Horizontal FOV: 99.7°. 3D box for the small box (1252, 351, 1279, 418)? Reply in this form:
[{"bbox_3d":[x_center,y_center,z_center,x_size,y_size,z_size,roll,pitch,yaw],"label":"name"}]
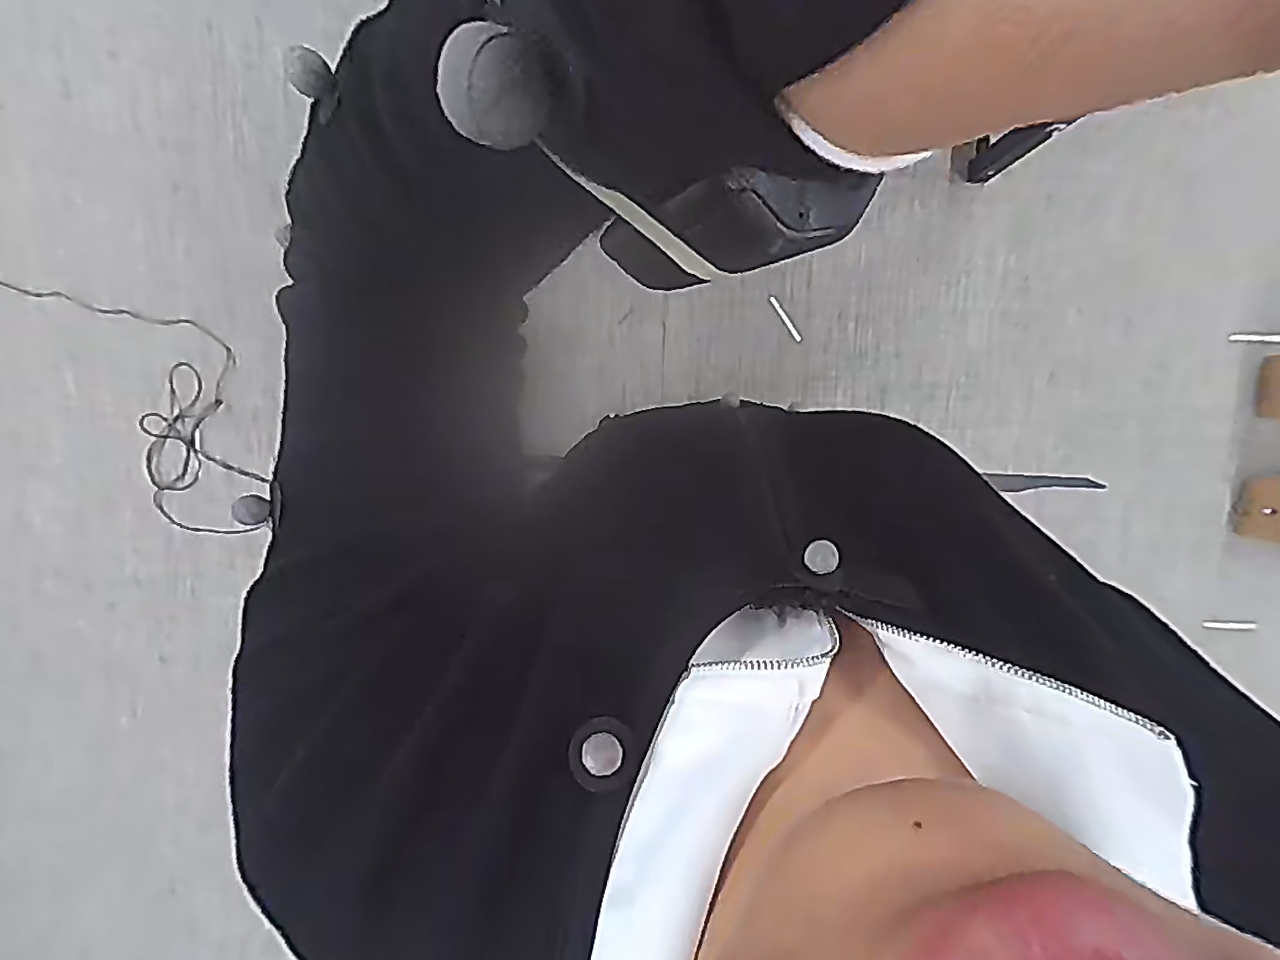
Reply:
[{"bbox_3d":[1.756,-0.247,1.394,0.168,0.176,0.179,-1,97,-1],"label":"small box"}]

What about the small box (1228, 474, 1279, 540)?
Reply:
[{"bbox_3d":[1.742,0.077,1.438,0.179,0.176,0.168,3,97,0],"label":"small box"}]
